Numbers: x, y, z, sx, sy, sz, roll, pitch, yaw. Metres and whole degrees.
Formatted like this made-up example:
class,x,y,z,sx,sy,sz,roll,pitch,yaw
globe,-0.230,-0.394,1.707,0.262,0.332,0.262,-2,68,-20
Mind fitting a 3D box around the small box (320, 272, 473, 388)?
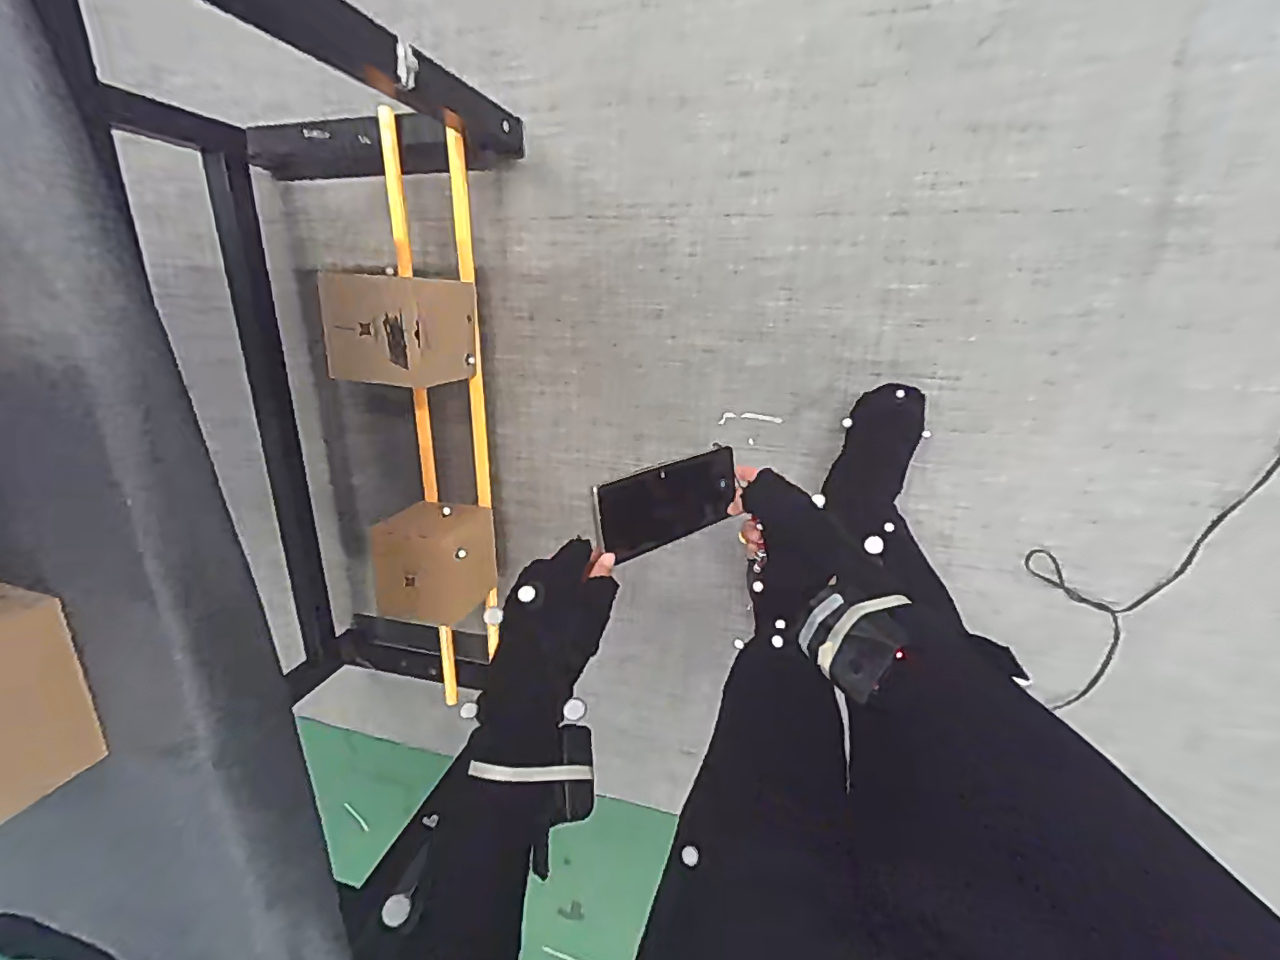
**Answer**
class,x,y,z,sx,sy,sz,roll,pitch,yaw
small box,-0.398,-0.258,0.917,0.179,0.176,0.168,9,109,13
